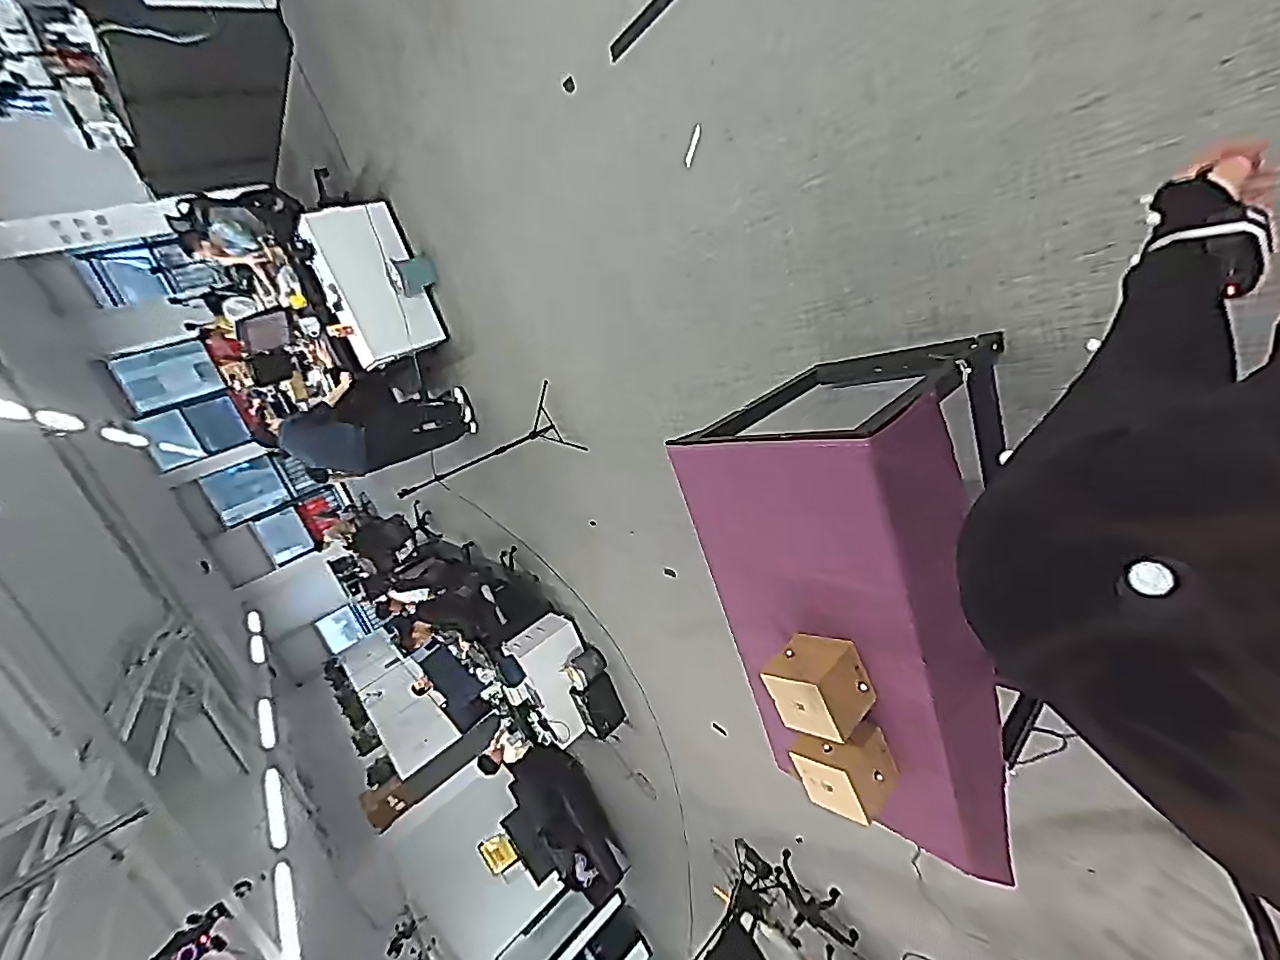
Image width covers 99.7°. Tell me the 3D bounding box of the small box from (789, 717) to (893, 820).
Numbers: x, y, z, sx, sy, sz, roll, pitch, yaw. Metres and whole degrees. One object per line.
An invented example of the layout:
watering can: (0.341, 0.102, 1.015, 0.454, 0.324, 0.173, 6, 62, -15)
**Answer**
small box: (0.529, 0.725, 1.405, 0.179, 0.176, 0.168, -11, 107, 56)

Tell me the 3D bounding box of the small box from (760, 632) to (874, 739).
small box: (0.440, 0.497, 1.341, 0.179, 0.176, 0.168, -13, 106, 57)
